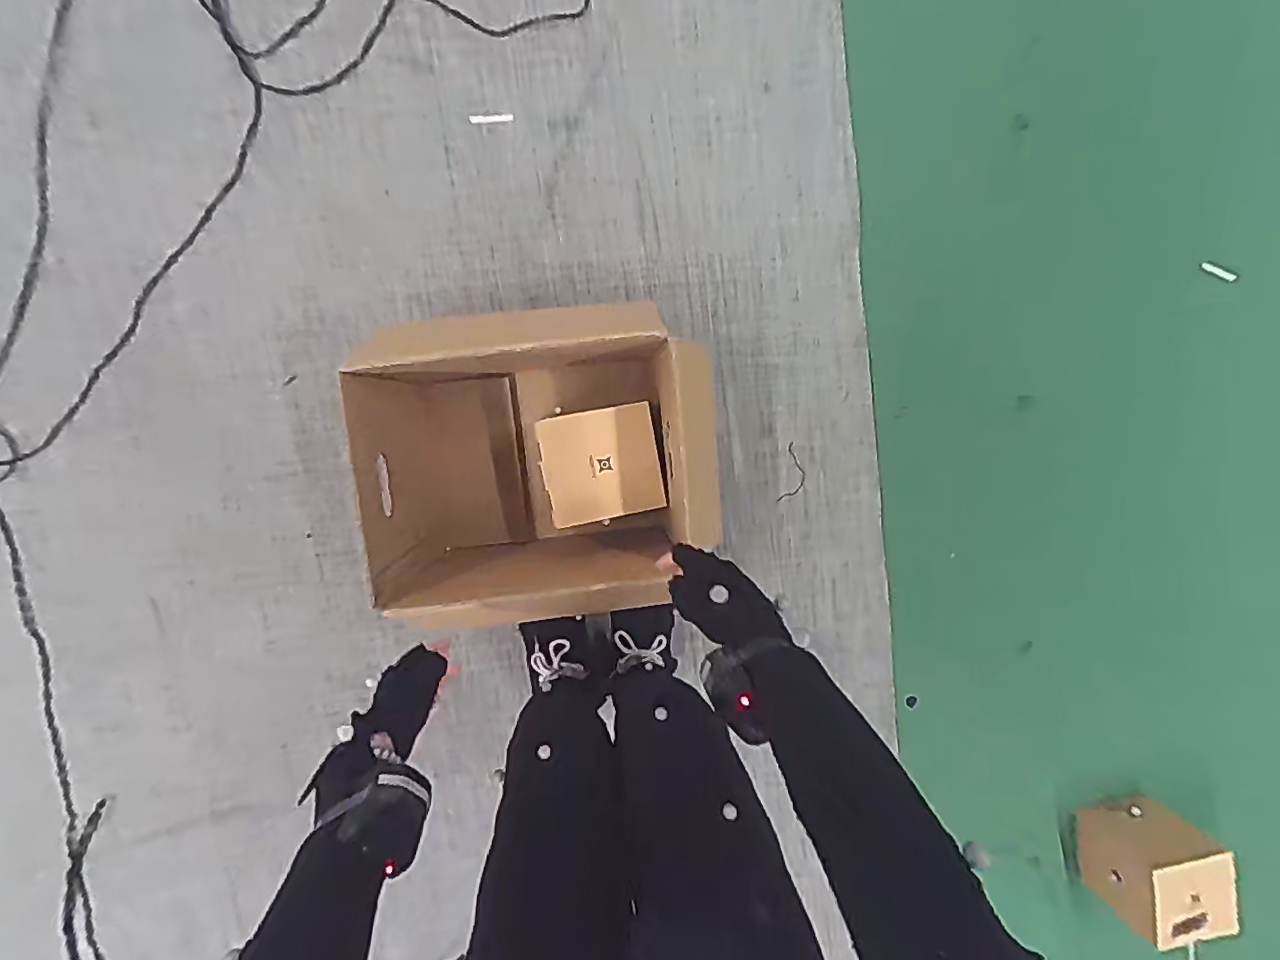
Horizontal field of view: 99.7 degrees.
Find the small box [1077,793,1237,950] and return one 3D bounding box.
[{"bbox_3d":[1.026,0.775,1.085,0.168,0.176,0.179,-11,97,-3],"label":"small box"}]
